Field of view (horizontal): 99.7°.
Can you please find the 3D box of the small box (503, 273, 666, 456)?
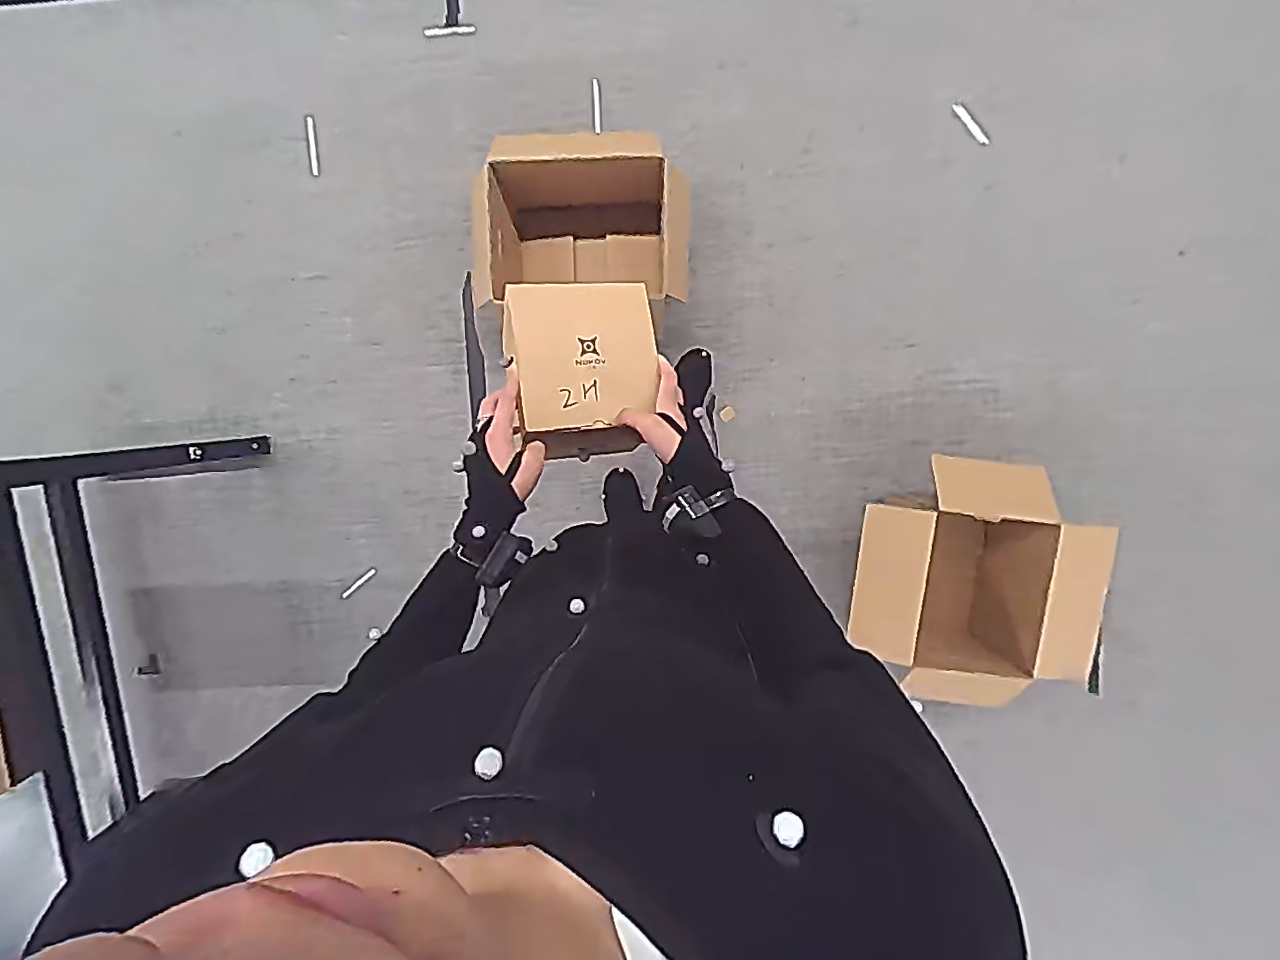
[{"bbox_3d":[-0.081,-0.138,0.684,0.168,0.176,0.179,-7,83,-16],"label":"small box"}]
